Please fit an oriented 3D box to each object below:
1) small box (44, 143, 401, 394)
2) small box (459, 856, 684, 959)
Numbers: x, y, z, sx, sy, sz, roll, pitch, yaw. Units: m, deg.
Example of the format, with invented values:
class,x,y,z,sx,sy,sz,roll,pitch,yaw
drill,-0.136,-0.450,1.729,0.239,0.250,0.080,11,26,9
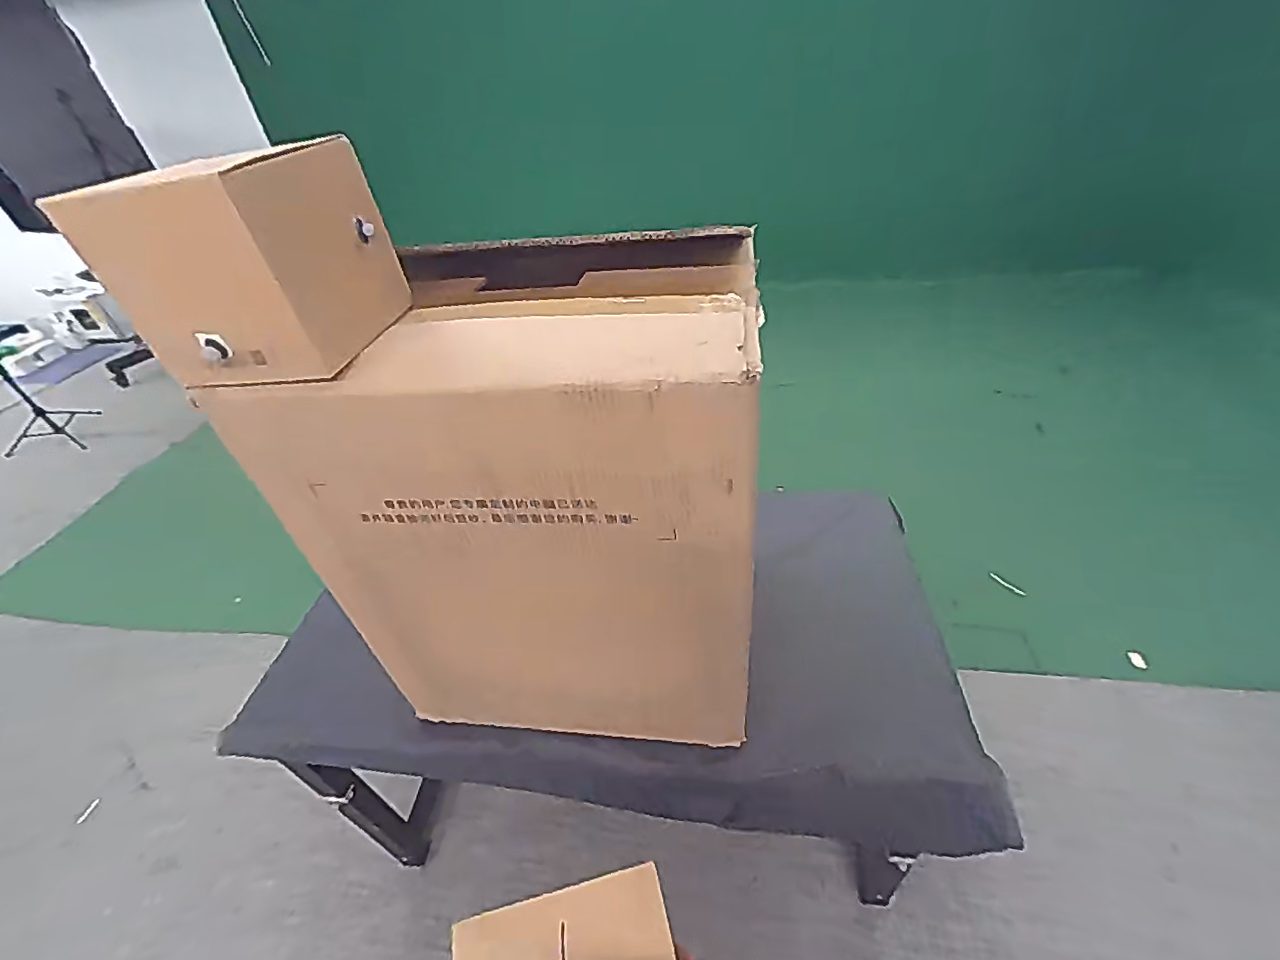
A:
class,x,y,z,sx,sy,sz,roll,pitch,yaw
small box,-0.356,-0.199,0.512,0.168,0.176,0.179,-3,40,9
small box,-0.038,0.438,0.436,0.168,0.176,0.179,-12,49,-9
